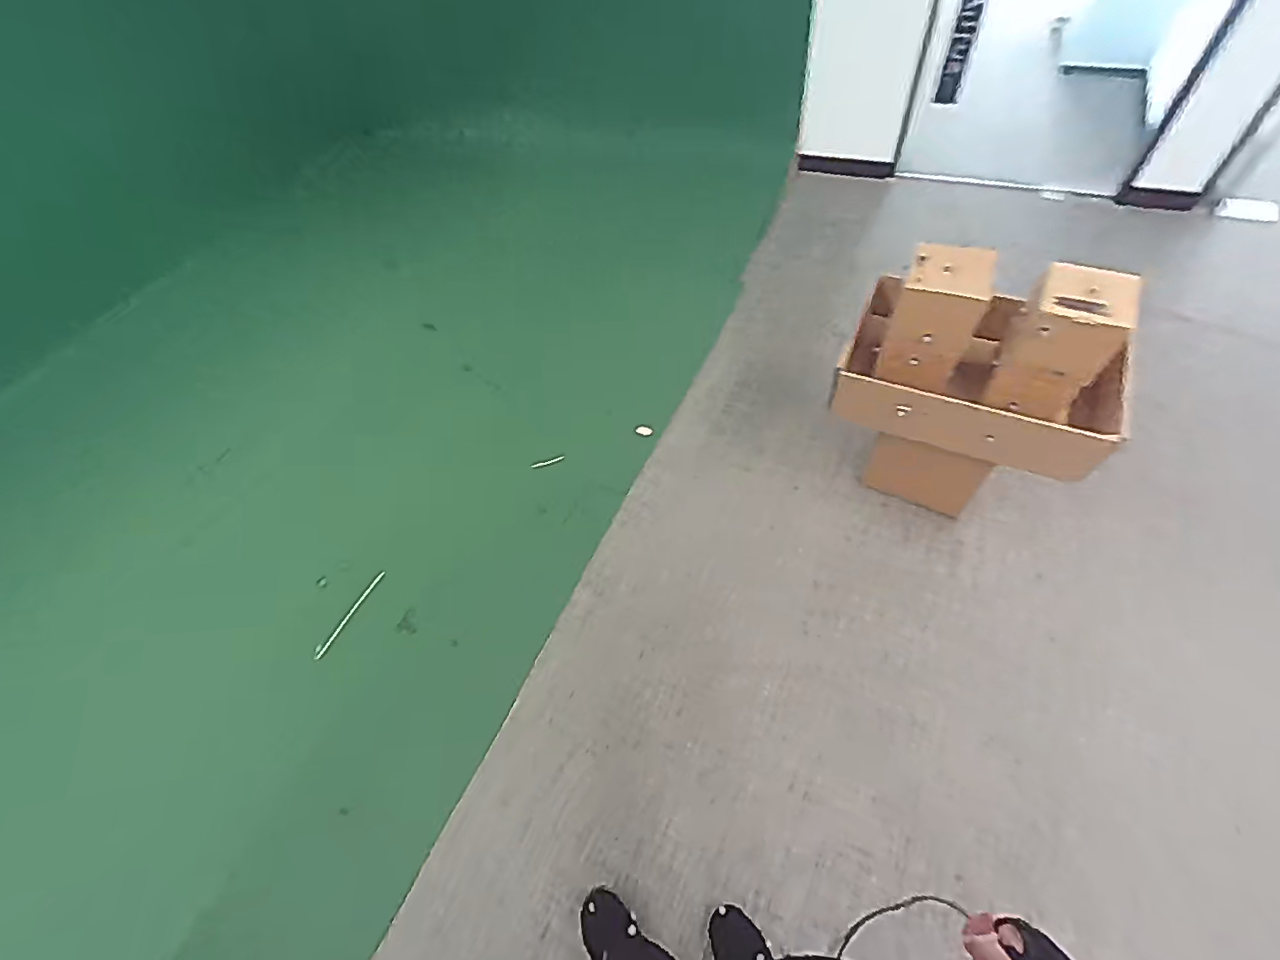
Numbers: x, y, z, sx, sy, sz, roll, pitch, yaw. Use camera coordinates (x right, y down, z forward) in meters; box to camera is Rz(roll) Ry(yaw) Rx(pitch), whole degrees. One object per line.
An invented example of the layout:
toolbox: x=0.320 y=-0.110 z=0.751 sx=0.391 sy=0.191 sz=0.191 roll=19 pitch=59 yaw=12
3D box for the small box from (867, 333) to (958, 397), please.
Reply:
small box: x=0.718 y=-0.342 z=1.419 sx=0.179 sy=0.176 sz=0.168 roll=20 pitch=63 yaw=18

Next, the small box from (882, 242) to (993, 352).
small box: x=0.698 y=-0.429 z=1.281 sx=0.179 sy=0.176 sz=0.168 roll=17 pitch=62 yaw=18
